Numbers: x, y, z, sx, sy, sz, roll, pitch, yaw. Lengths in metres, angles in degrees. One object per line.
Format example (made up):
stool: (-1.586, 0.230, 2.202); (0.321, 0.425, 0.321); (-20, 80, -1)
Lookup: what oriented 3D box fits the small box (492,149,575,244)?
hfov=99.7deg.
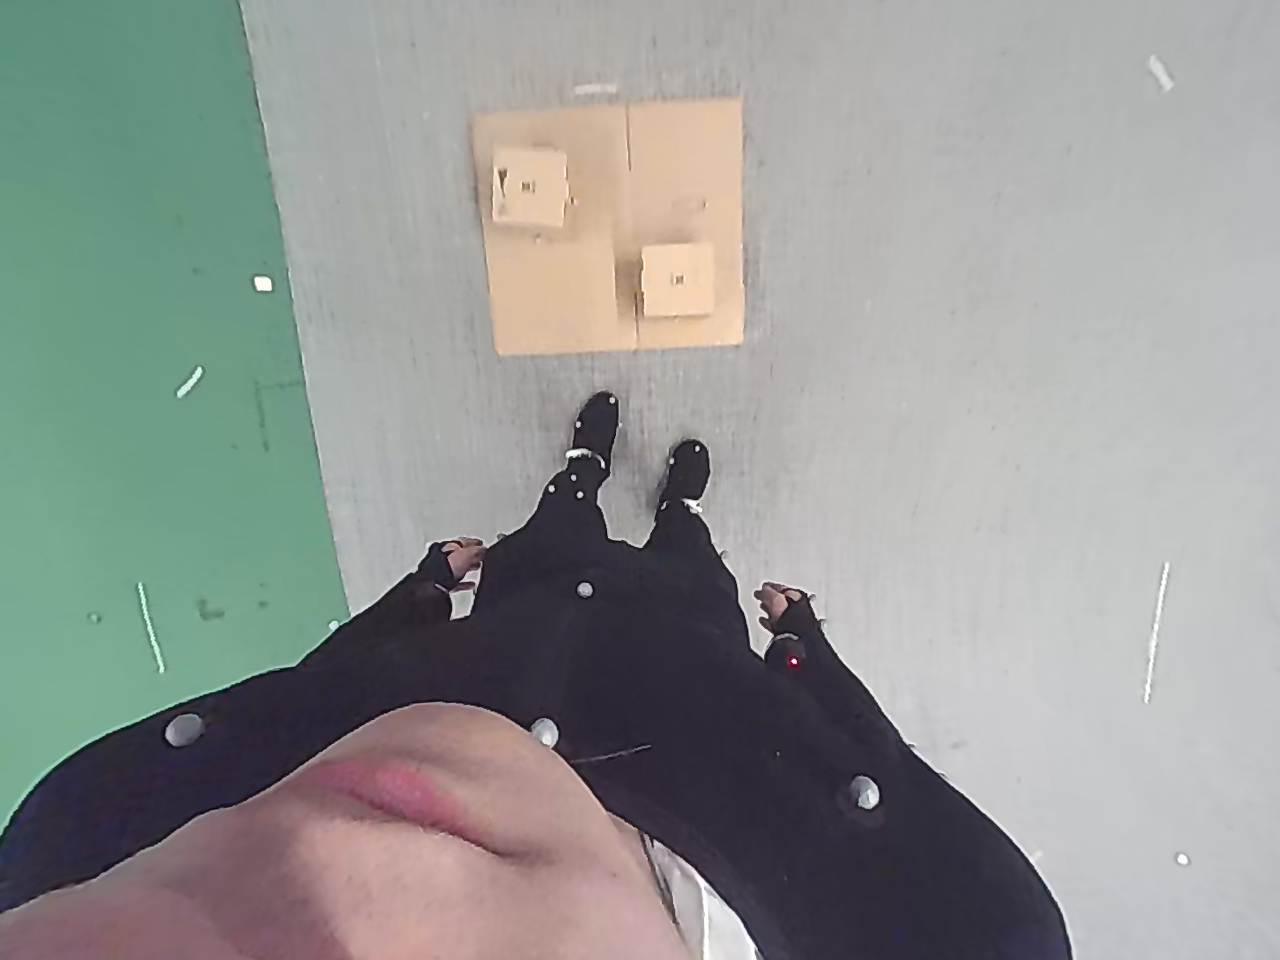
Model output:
small box: (-0.259, -0.698, 1.348); (0.179, 0.176, 0.168); (6, 102, -1)

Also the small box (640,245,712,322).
small box: (0.091, -0.498, 1.390); (0.179, 0.176, 0.168); (-1, 103, 1)
